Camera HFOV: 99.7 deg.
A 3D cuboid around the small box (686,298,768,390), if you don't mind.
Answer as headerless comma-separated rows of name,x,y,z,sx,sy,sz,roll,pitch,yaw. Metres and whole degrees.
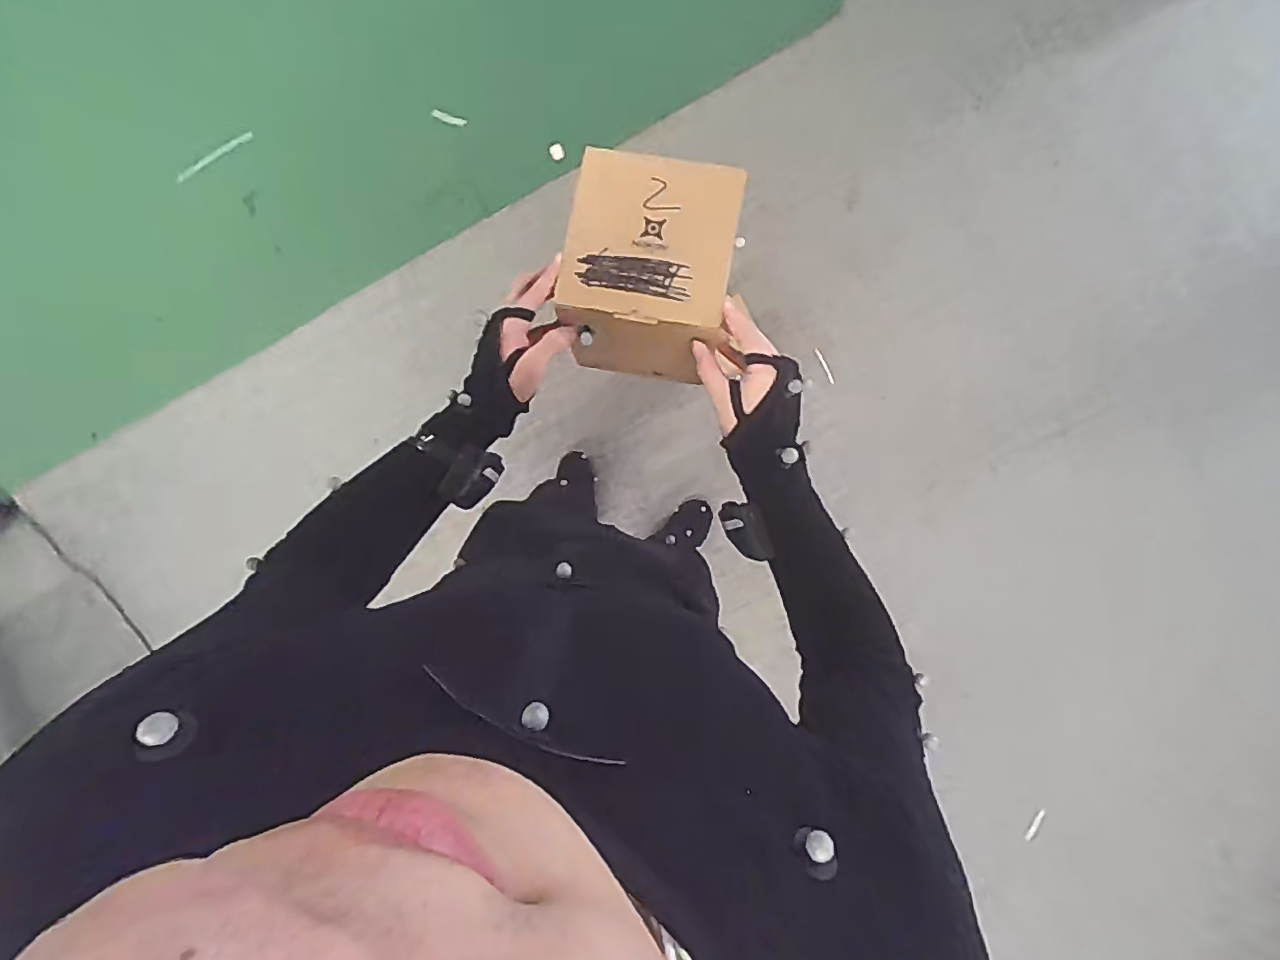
small box,0.240,-0.372,1.517,0.168,0.176,0.179,-27,88,7
